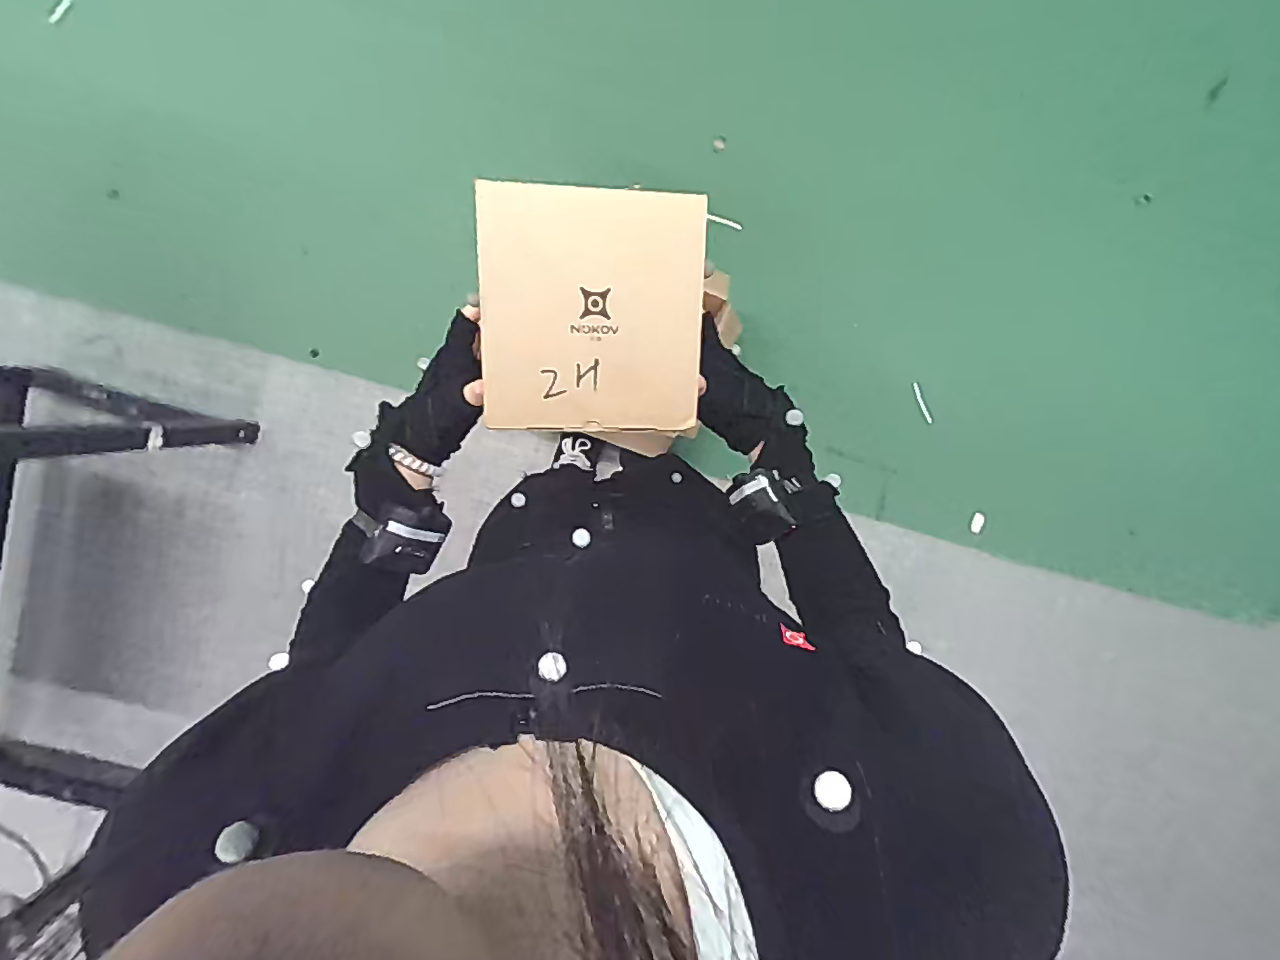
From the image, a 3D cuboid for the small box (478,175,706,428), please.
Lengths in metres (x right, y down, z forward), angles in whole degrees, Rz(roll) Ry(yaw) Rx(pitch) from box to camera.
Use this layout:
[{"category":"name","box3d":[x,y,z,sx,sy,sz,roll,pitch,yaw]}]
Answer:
[{"category":"small box","box3d":[-0.044,-0.143,0.476,0.168,0.176,0.179,-1,104,-7]}]
